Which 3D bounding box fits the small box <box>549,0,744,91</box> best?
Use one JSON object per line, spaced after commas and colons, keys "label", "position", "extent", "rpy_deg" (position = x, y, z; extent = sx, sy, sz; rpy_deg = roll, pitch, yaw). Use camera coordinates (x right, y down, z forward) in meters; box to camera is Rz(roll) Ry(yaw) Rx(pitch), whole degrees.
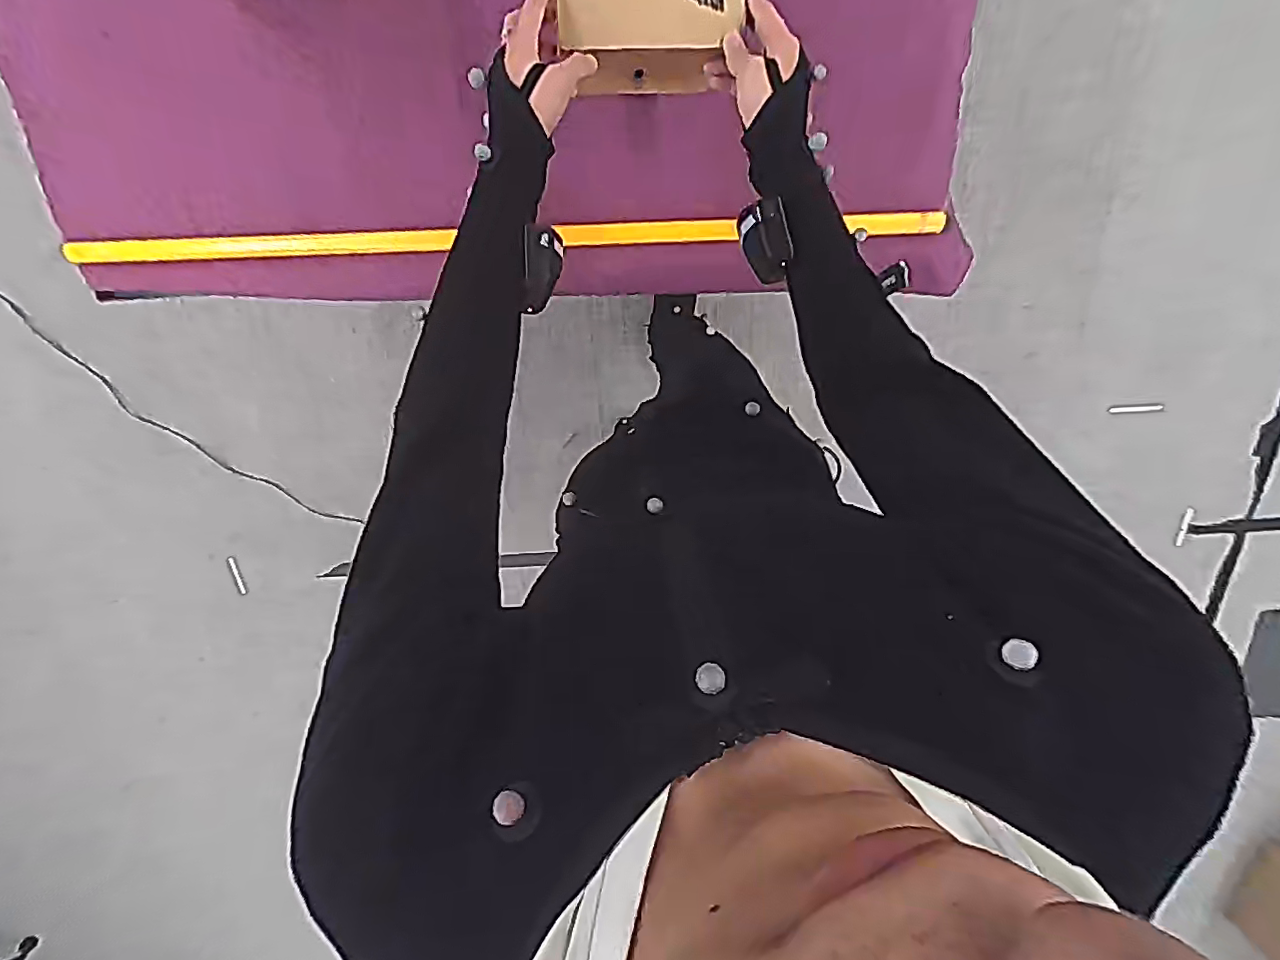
{"label": "small box", "position": [-0.003, -0.500, 0.528], "extent": [0.179, 0.176, 0.168], "rpy_deg": [-4, 114, -4]}
